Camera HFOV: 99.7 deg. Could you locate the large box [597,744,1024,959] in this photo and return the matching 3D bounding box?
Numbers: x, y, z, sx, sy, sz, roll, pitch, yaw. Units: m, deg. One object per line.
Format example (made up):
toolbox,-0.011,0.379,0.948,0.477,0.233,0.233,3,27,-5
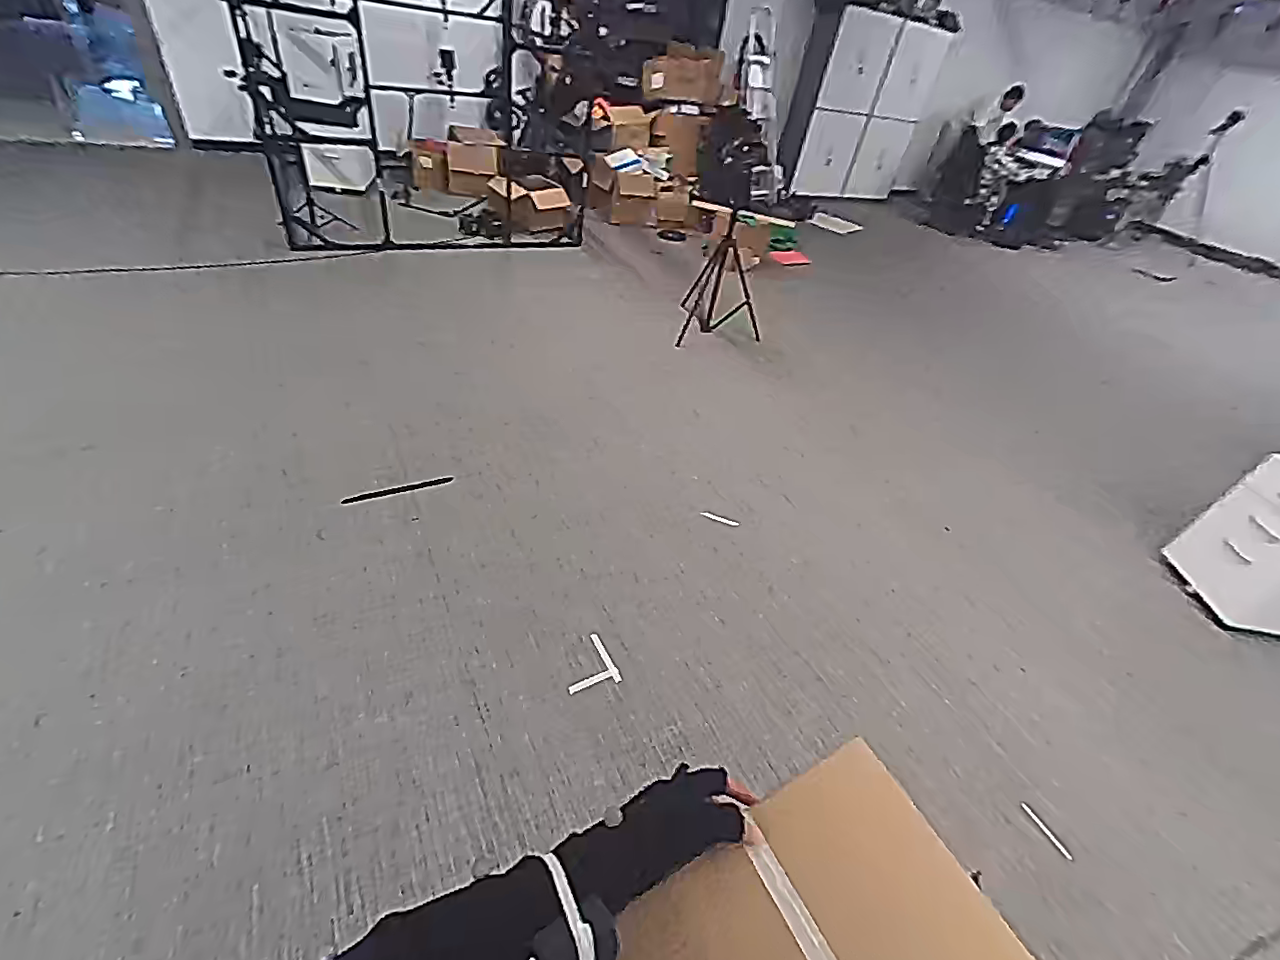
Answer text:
large box,0.182,0.554,0.513,0.320,0.320,0.408,-21,53,-21
